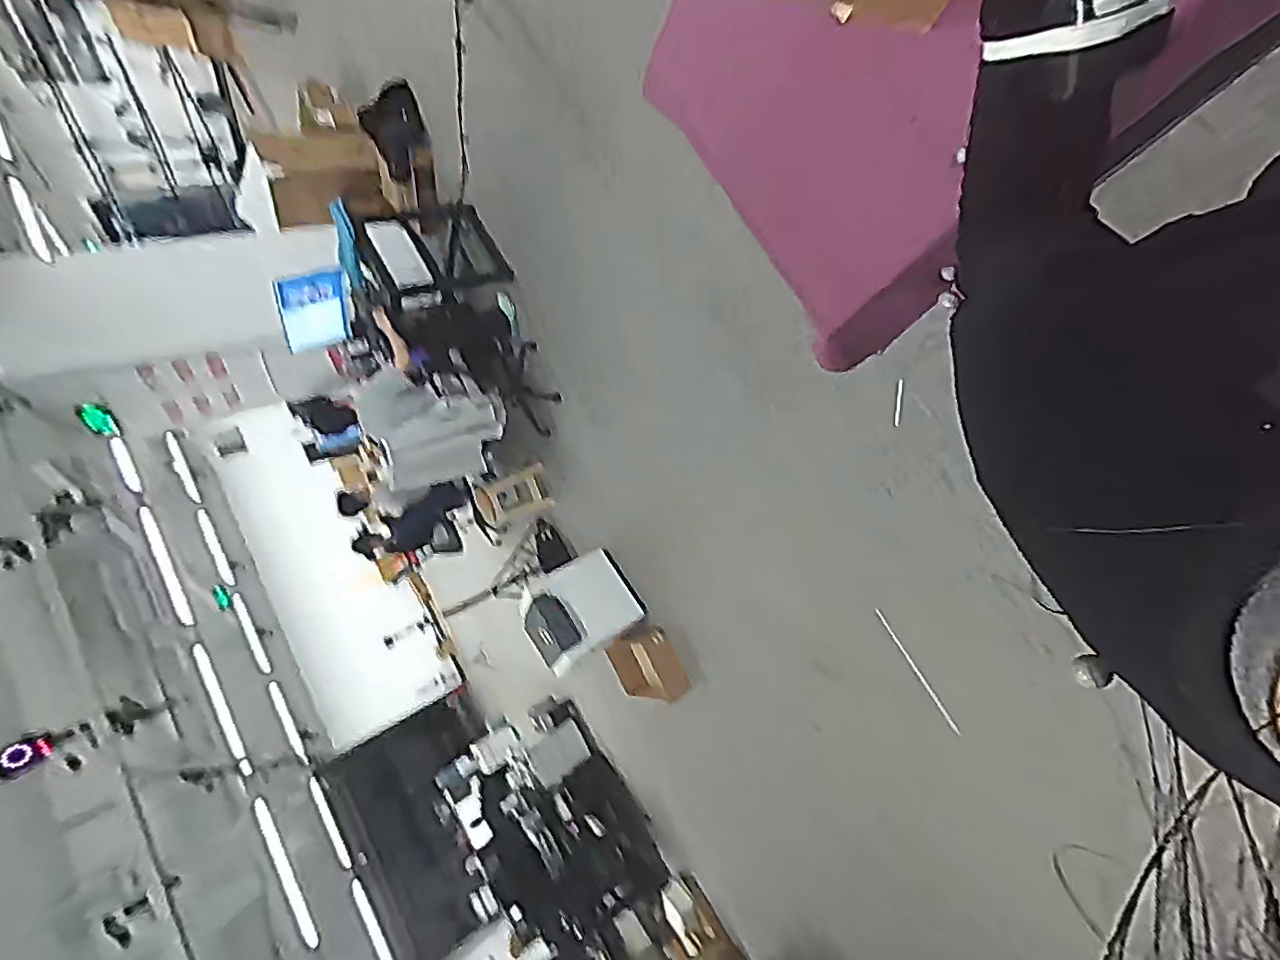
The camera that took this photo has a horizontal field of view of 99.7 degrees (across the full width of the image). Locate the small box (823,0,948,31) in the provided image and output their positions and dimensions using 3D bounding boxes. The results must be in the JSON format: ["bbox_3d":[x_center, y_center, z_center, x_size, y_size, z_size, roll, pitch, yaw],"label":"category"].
[{"bbox_3d":[0.270,-0.611,0.558,0.168,0.176,0.179,59,147,12],"label":"small box"}]
